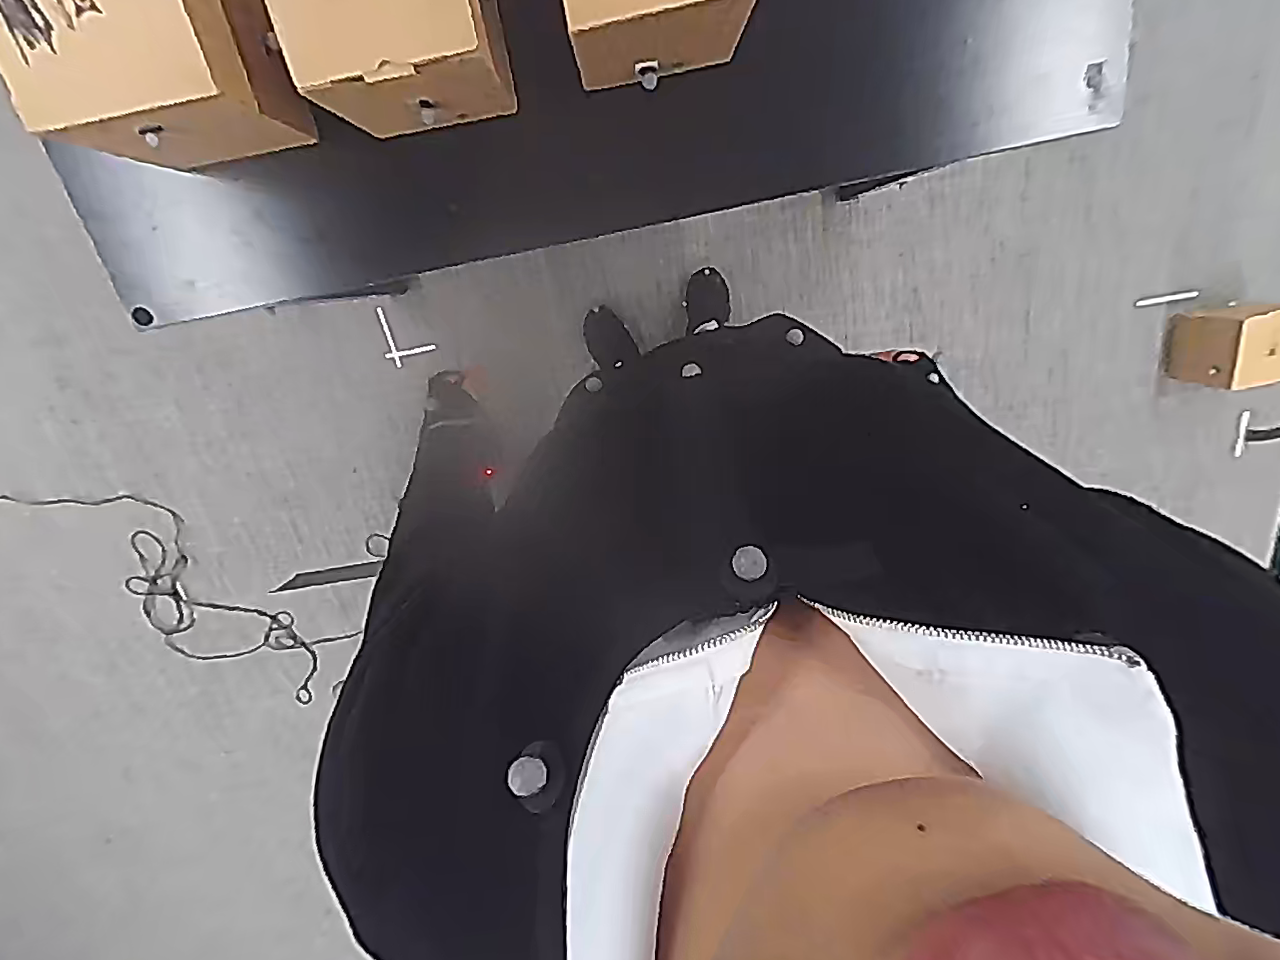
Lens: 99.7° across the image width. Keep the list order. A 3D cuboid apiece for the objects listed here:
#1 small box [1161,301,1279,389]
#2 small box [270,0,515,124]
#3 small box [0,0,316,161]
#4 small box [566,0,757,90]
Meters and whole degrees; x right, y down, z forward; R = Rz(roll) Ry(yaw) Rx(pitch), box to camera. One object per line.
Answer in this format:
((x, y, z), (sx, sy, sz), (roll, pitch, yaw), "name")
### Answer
((1.475, -0.345, 1.360), (0.168, 0.176, 0.179), (-11, 110, 3), "small box")
((-0.228, -0.457, 0.507), (0.168, 0.176, 0.179), (-9, 111, 3), "small box")
((-0.458, -0.423, 0.514), (0.179, 0.176, 0.168), (-10, 111, 2), "small box")
((0.006, -0.501, 0.498), (0.168, 0.176, 0.179), (-11, 111, 5), "small box")
